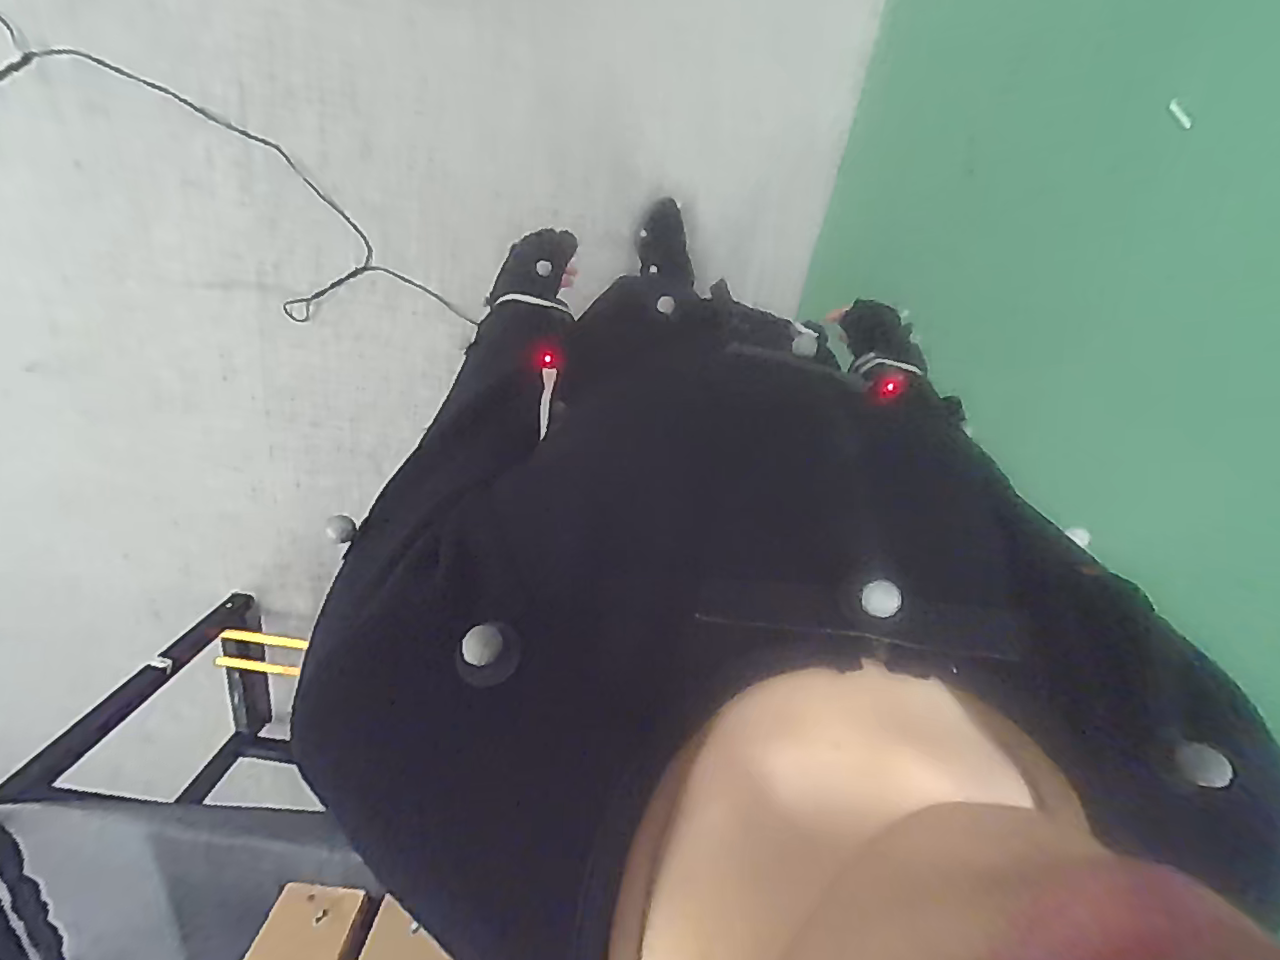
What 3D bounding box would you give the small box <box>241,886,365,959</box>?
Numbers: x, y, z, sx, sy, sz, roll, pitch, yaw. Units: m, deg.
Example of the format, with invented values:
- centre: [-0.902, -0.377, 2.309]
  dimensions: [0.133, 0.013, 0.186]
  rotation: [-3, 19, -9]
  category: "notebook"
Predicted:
- centre: [-0.667, 0.956, 1.074]
  dimensions: [0.168, 0.176, 0.179]
  rotation: [8, 113, -3]
  category: "small box"
